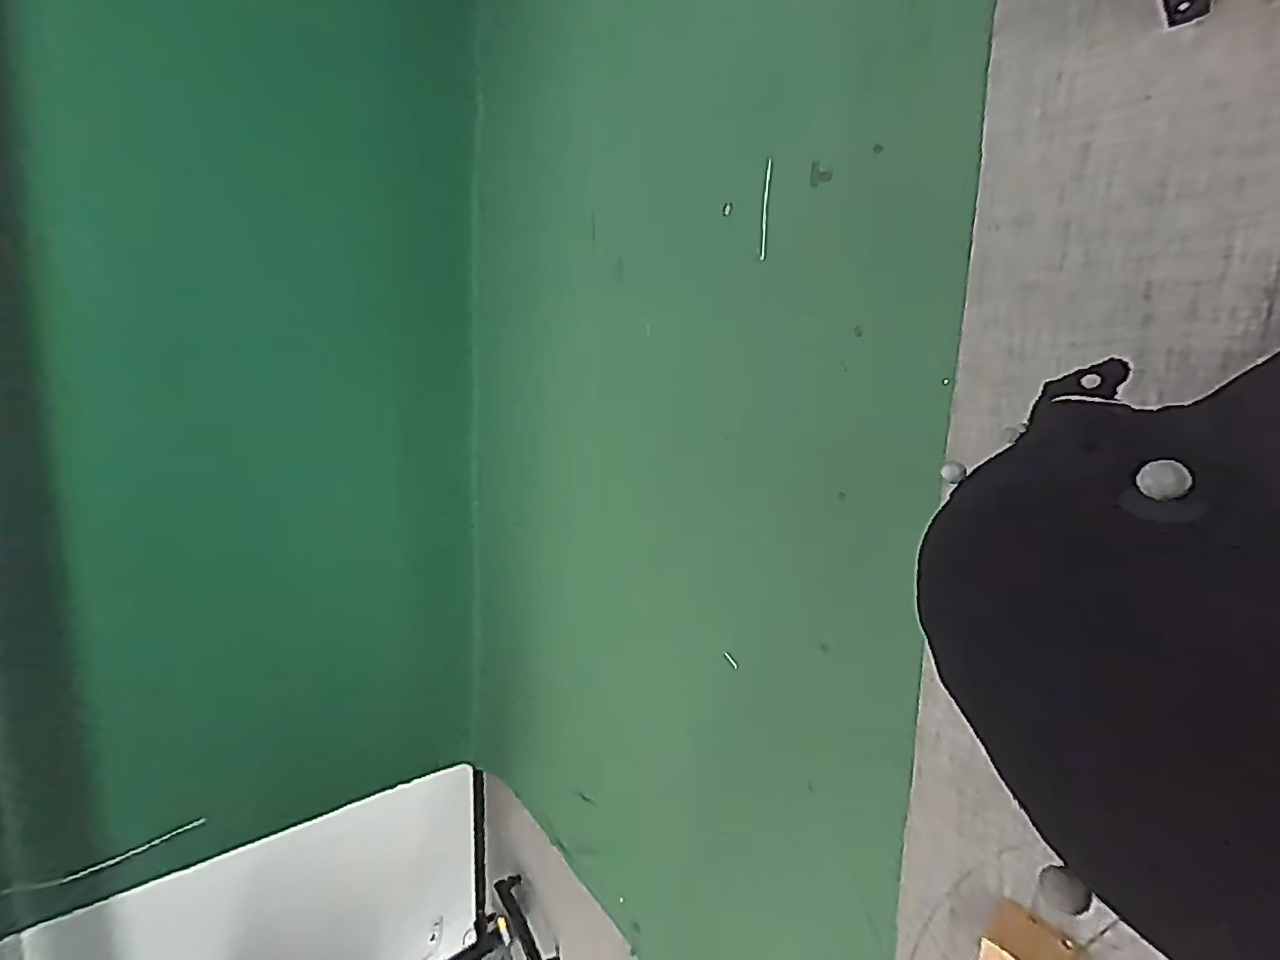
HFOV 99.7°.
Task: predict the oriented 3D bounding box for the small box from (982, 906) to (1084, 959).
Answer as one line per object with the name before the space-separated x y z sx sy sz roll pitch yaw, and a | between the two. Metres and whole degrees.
small box | 0.911 1.159 1.259 0.168 0.176 0.179 14 104 50
